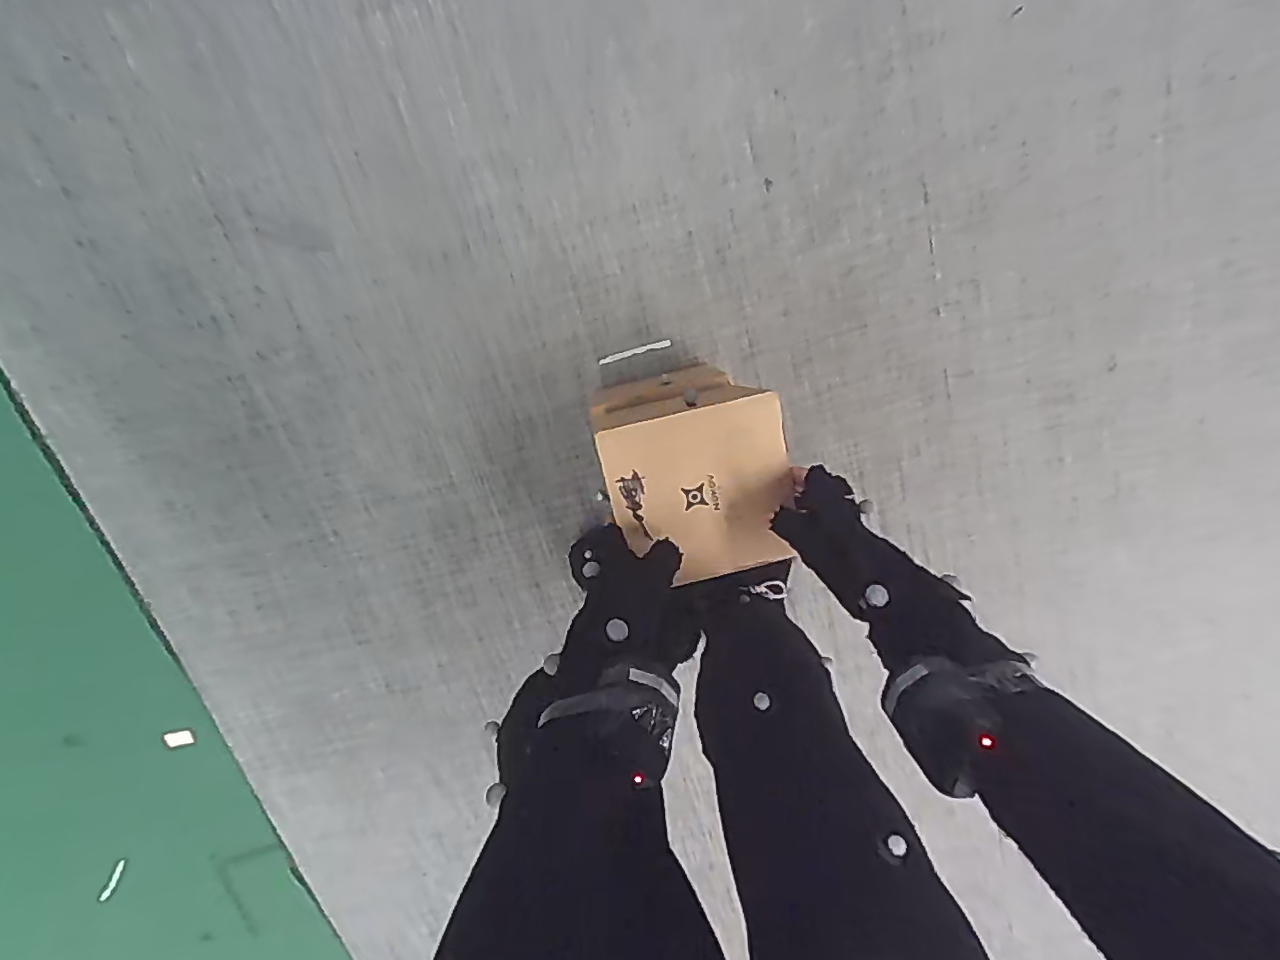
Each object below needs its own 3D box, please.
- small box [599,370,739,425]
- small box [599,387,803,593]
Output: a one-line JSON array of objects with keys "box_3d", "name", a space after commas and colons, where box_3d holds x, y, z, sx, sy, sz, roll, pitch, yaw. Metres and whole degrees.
[{"box_3d": [0.044, -0.057, 0.759, 0.179, 0.176, 0.168, -11, 104, 1], "name": "small box"}, {"box_3d": [0.056, -0.002, 0.594, 0.179, 0.176, 0.168, -13, 104, -1], "name": "small box"}]
